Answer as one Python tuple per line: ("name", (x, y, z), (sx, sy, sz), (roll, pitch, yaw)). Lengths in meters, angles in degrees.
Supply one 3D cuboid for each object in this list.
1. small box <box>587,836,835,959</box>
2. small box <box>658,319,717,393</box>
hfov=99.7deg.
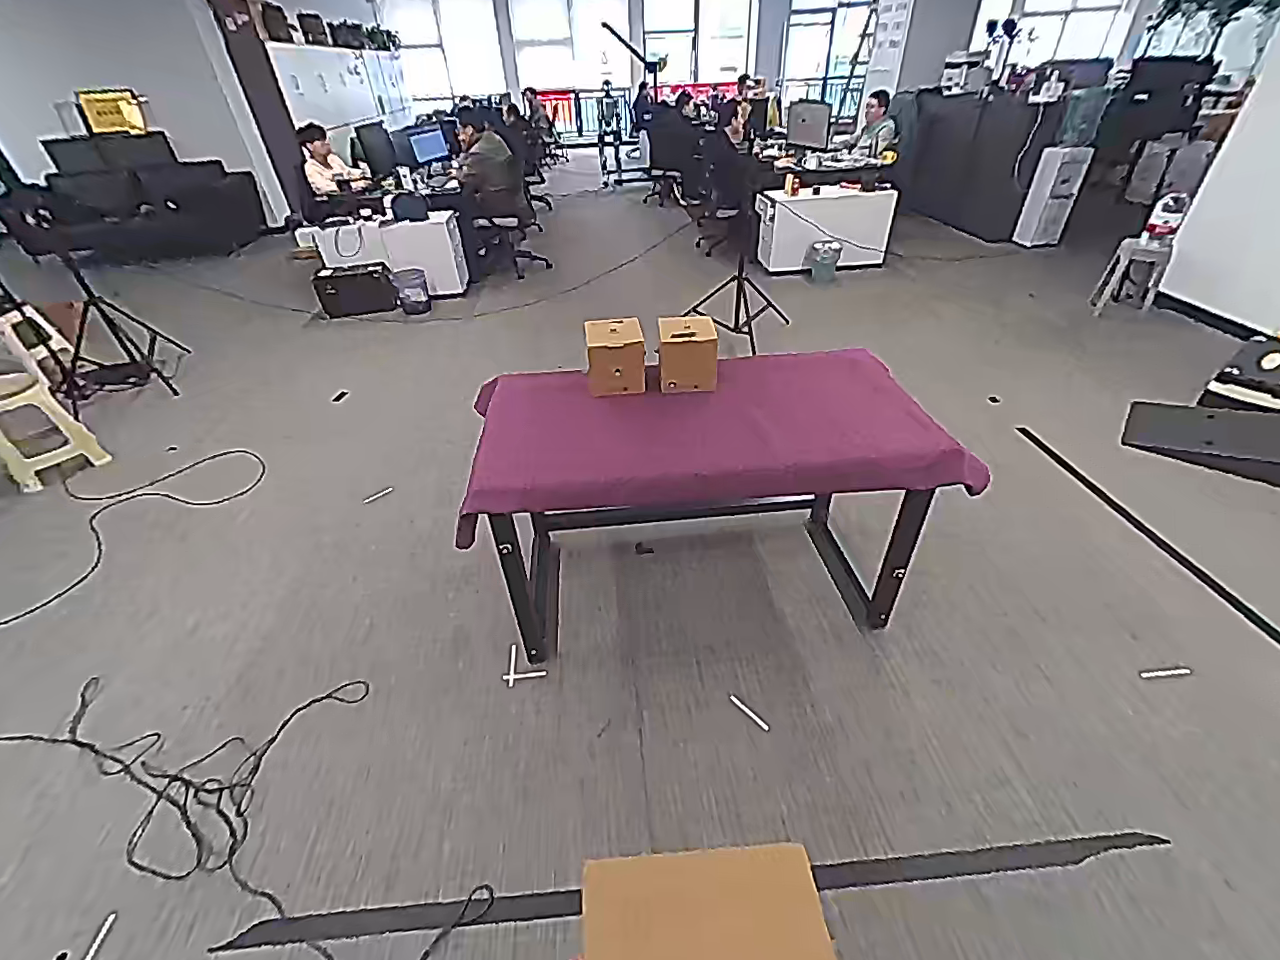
("small box", (0.045, 0.388, 0.385), (0.168, 0.176, 0.179), (-2, 39, -4))
("small box", (0.142, -0.373, 1.644), (0.168, 0.176, 0.179), (-2, 38, 0))
